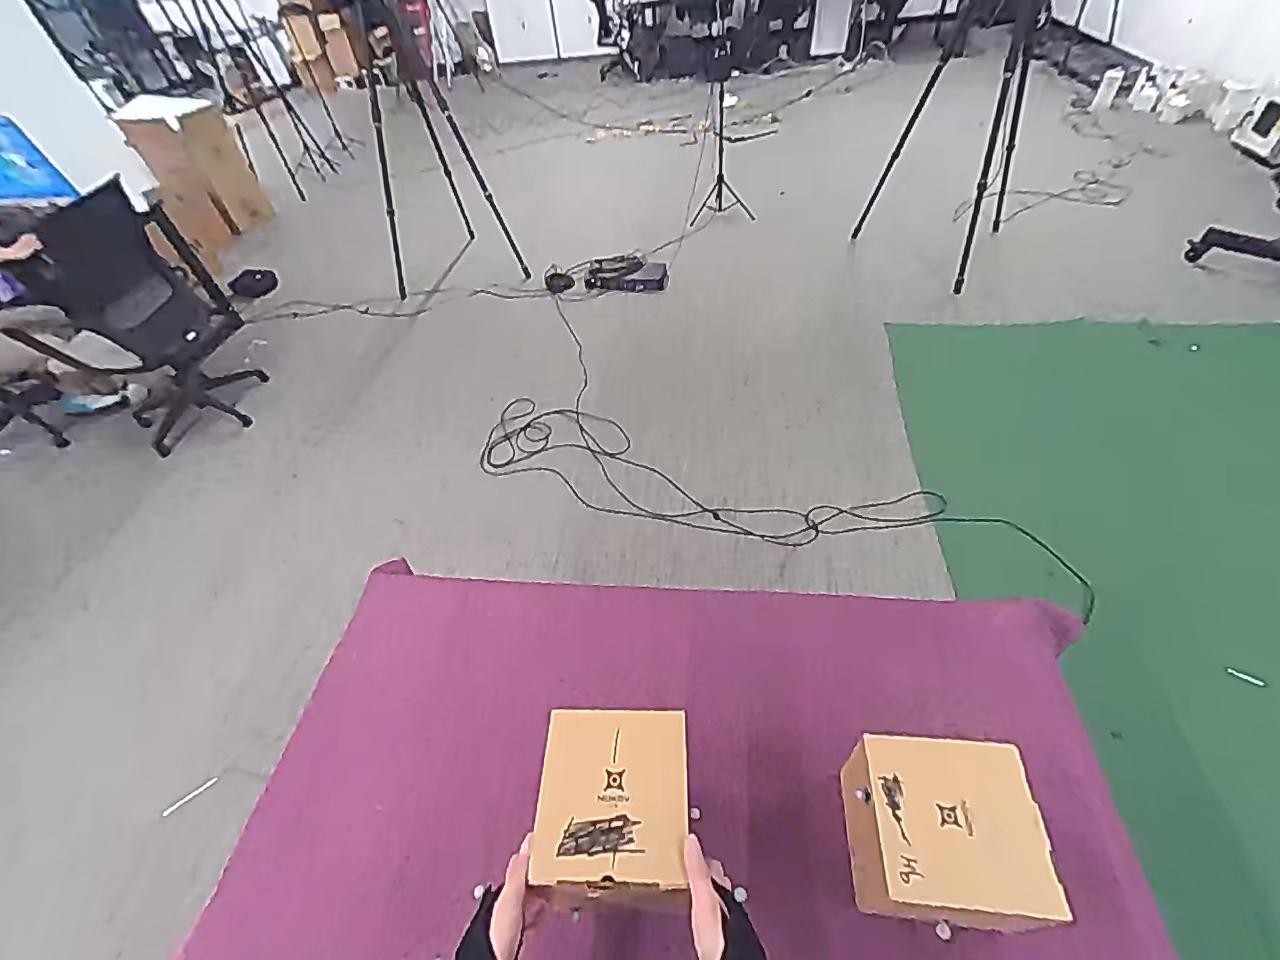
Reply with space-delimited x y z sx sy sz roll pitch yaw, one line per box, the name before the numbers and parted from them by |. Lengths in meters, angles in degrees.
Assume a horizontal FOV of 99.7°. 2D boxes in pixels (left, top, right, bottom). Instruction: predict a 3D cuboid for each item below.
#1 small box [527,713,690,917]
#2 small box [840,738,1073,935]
small box | -0.025 0.398 0.642 0.168 0.176 0.179 0 44 2
small box | 0.356 0.431 0.652 0.179 0.176 0.168 2 48 8
